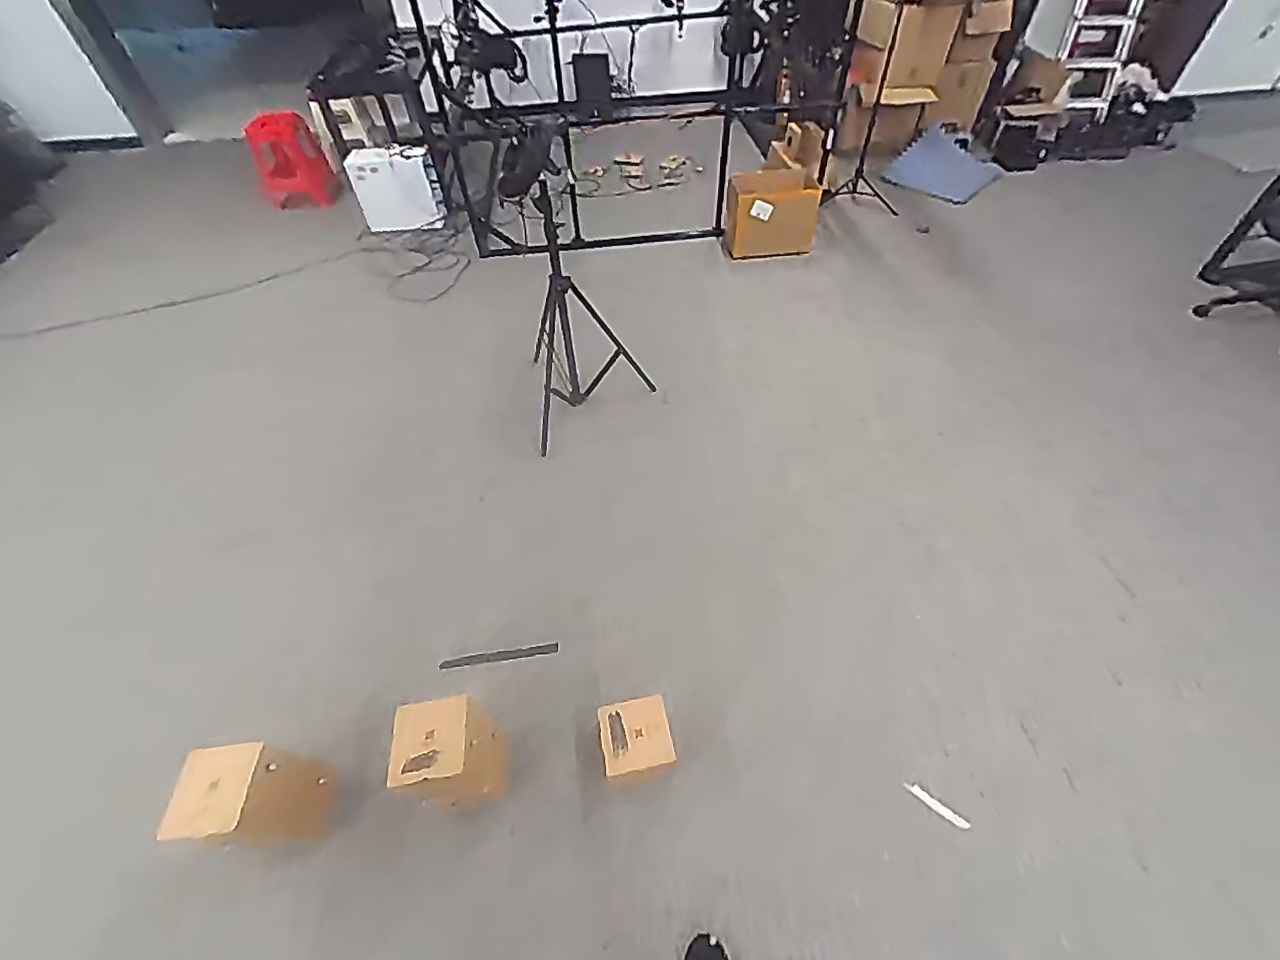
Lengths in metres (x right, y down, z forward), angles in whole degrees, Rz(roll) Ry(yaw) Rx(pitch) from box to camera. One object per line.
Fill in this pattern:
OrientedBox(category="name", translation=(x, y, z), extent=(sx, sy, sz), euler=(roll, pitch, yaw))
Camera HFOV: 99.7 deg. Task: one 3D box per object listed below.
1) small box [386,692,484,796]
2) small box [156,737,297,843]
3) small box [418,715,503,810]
OrientedBox(category="small box", translation=(-0.471, 0.624, 1.269), extent=(0.168, 0.176, 0.179), euler=(-8, 49, -4))
OrientedBox(category="small box", translation=(-0.916, 0.702, 1.223), extent=(0.168, 0.176, 0.179), euler=(-6, 51, -1))
OrientedBox(category="small box", translation=(-0.453, 0.732, 1.392), extent=(0.168, 0.176, 0.179), euler=(-9, 50, -5))
